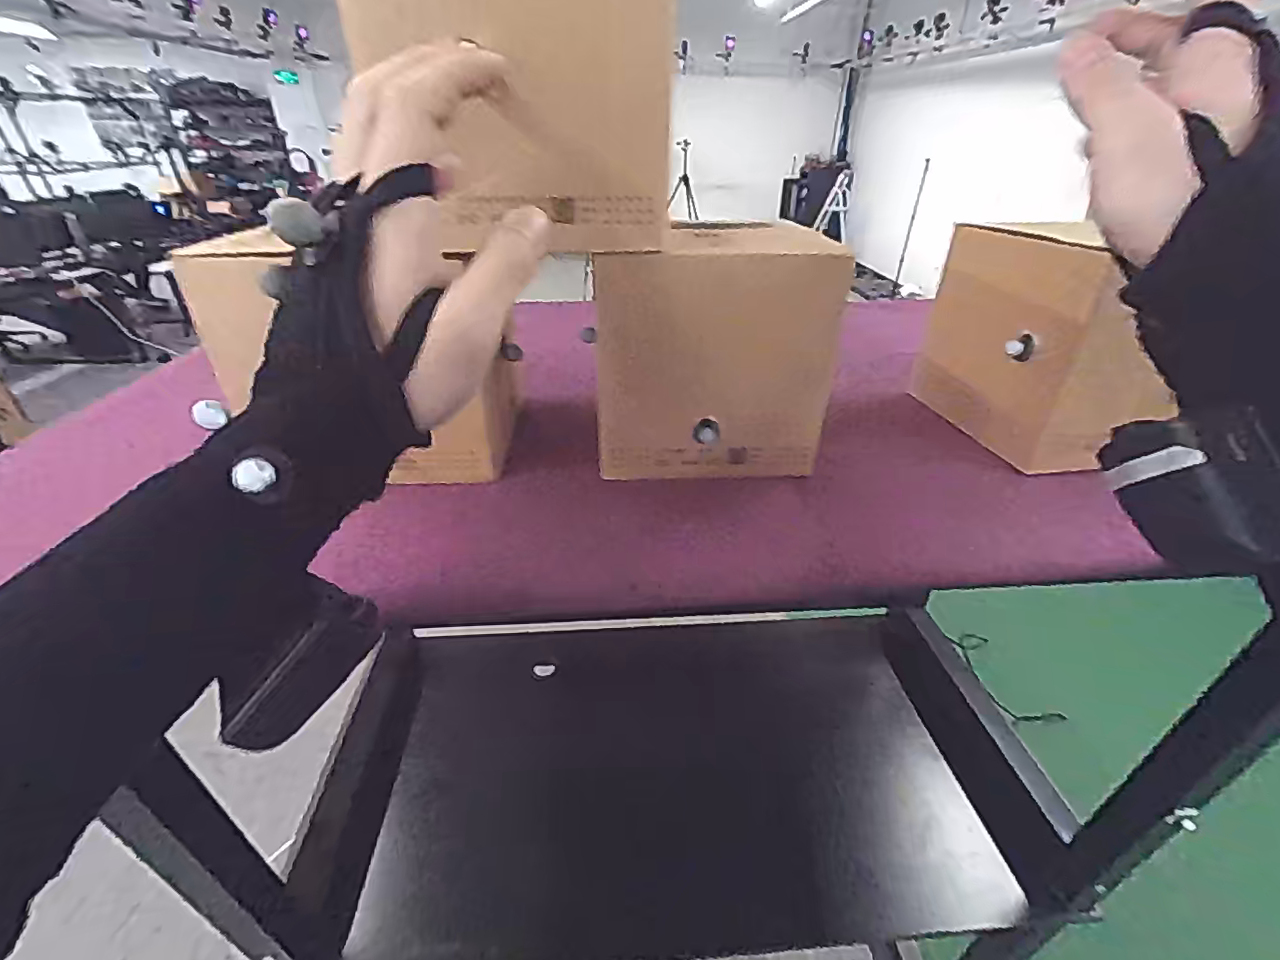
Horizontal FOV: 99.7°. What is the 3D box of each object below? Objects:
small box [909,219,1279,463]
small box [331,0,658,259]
[{"bbox_3d":[0.368,-0.122,0.466,0.168,0.176,0.179,-3,31,-5],"label":"small box"},{"bbox_3d":[-0.074,-0.248,0.361,0.168,0.176,0.179,-1,32,-2],"label":"small box"}]
